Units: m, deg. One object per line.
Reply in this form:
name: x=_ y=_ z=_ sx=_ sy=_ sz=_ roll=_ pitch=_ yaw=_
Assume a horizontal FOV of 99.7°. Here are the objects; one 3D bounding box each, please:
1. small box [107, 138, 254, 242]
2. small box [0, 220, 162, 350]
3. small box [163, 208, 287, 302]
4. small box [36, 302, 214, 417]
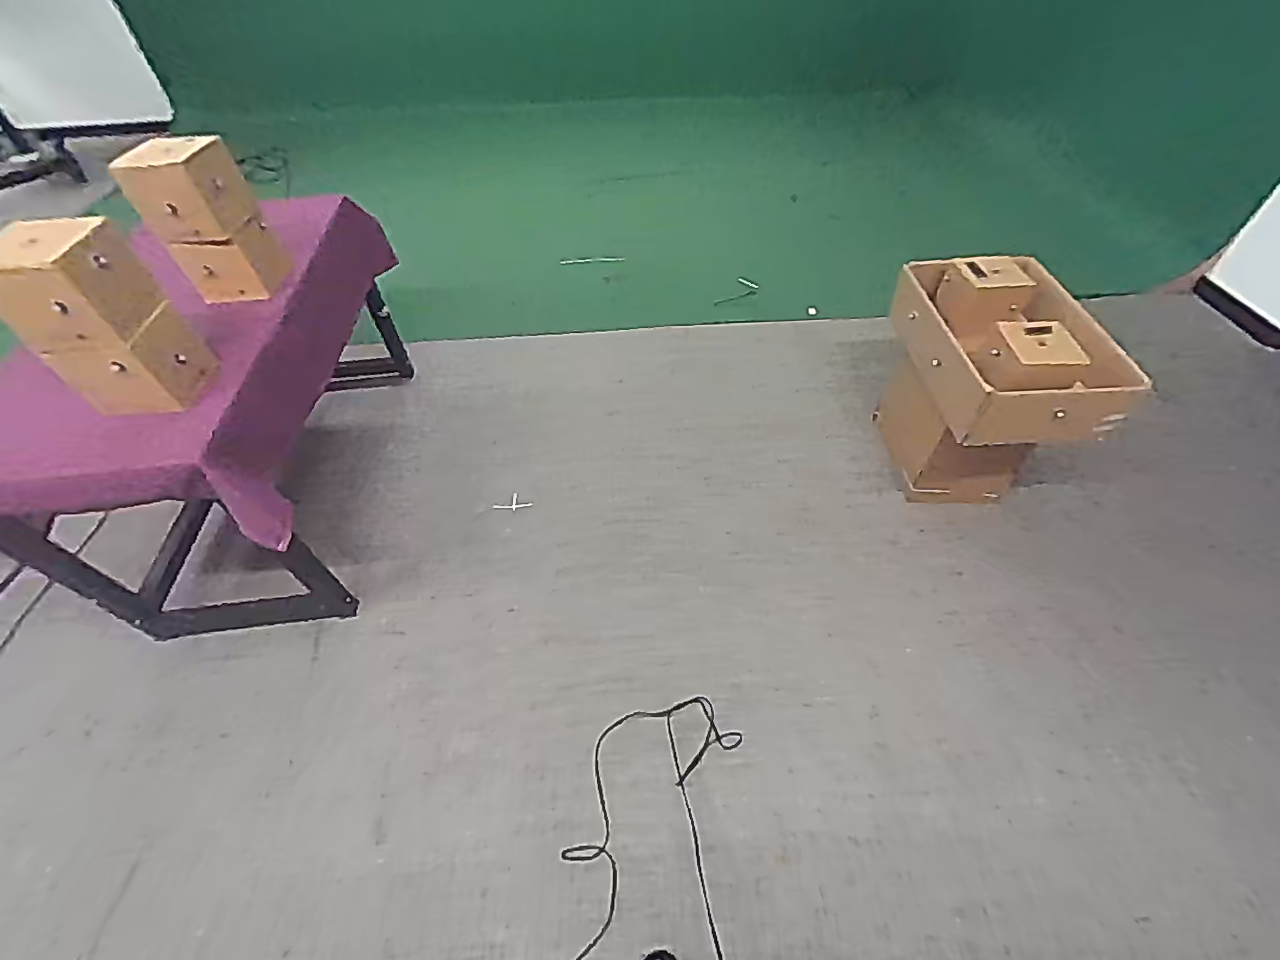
small box: x=-1.059 y=-0.675 z=1.269 sx=0.168 sy=0.176 sz=0.179 roll=-2 pitch=51 yaw=1
small box: x=-1.056 y=-0.356 z=1.003 sx=0.168 sy=0.176 sz=0.179 roll=-5 pitch=50 yaw=-2
small box: x=-1.057 y=-0.575 z=1.400 sx=0.168 sy=0.176 sz=0.179 roll=-5 pitch=50 yaw=-2
small box: x=-1.049 y=-0.247 z=1.125 sx=0.179 sy=0.176 sz=0.168 roll=-4 pitch=50 yaw=-1
